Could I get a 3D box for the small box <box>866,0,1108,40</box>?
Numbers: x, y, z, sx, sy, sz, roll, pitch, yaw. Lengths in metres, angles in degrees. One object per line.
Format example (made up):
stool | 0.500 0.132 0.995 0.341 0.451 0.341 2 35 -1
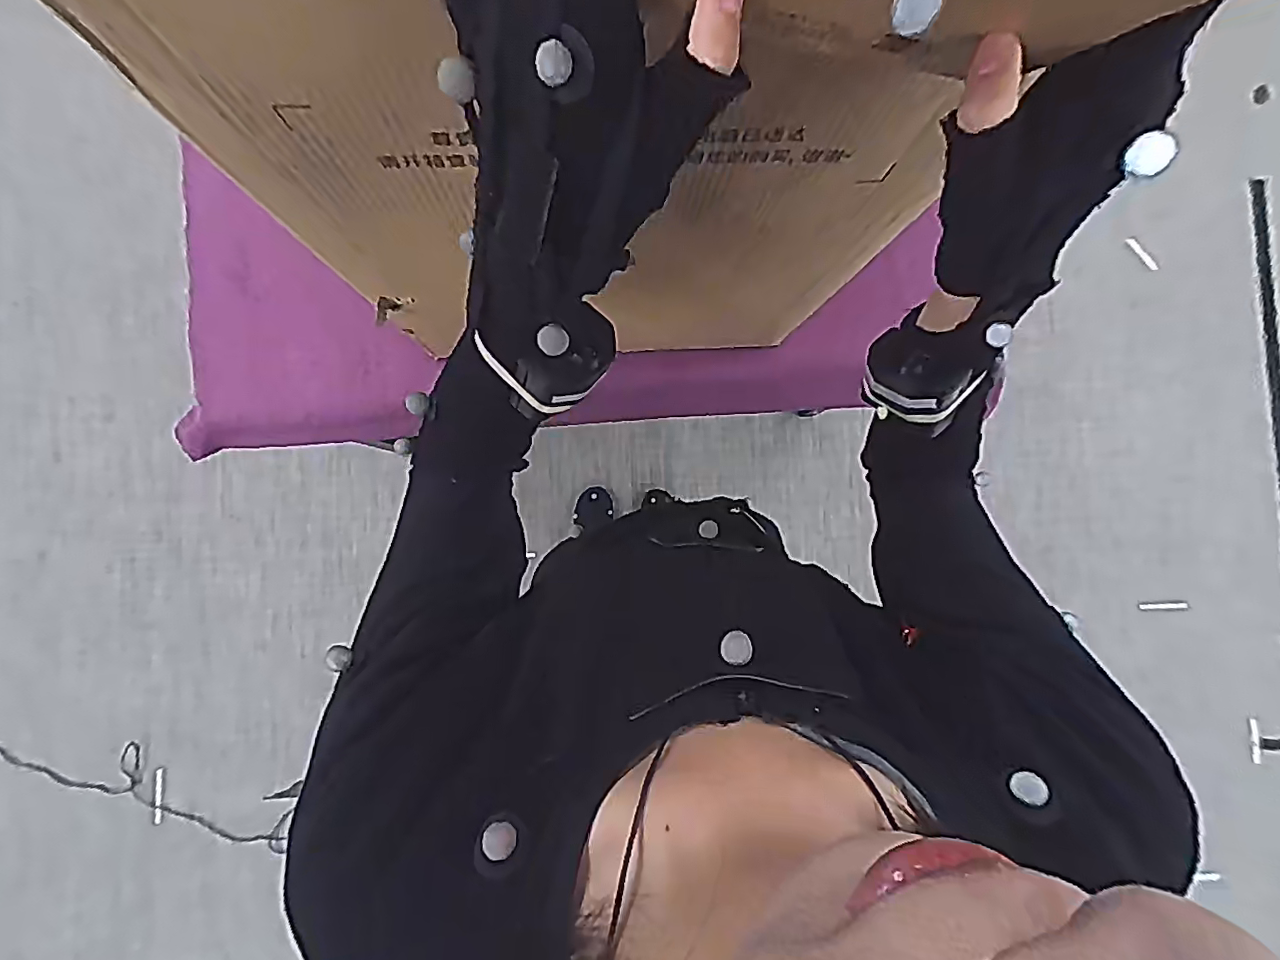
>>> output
small box | 0.099 -0.232 0.110 0.168 0.176 0.179 5 112 -8
